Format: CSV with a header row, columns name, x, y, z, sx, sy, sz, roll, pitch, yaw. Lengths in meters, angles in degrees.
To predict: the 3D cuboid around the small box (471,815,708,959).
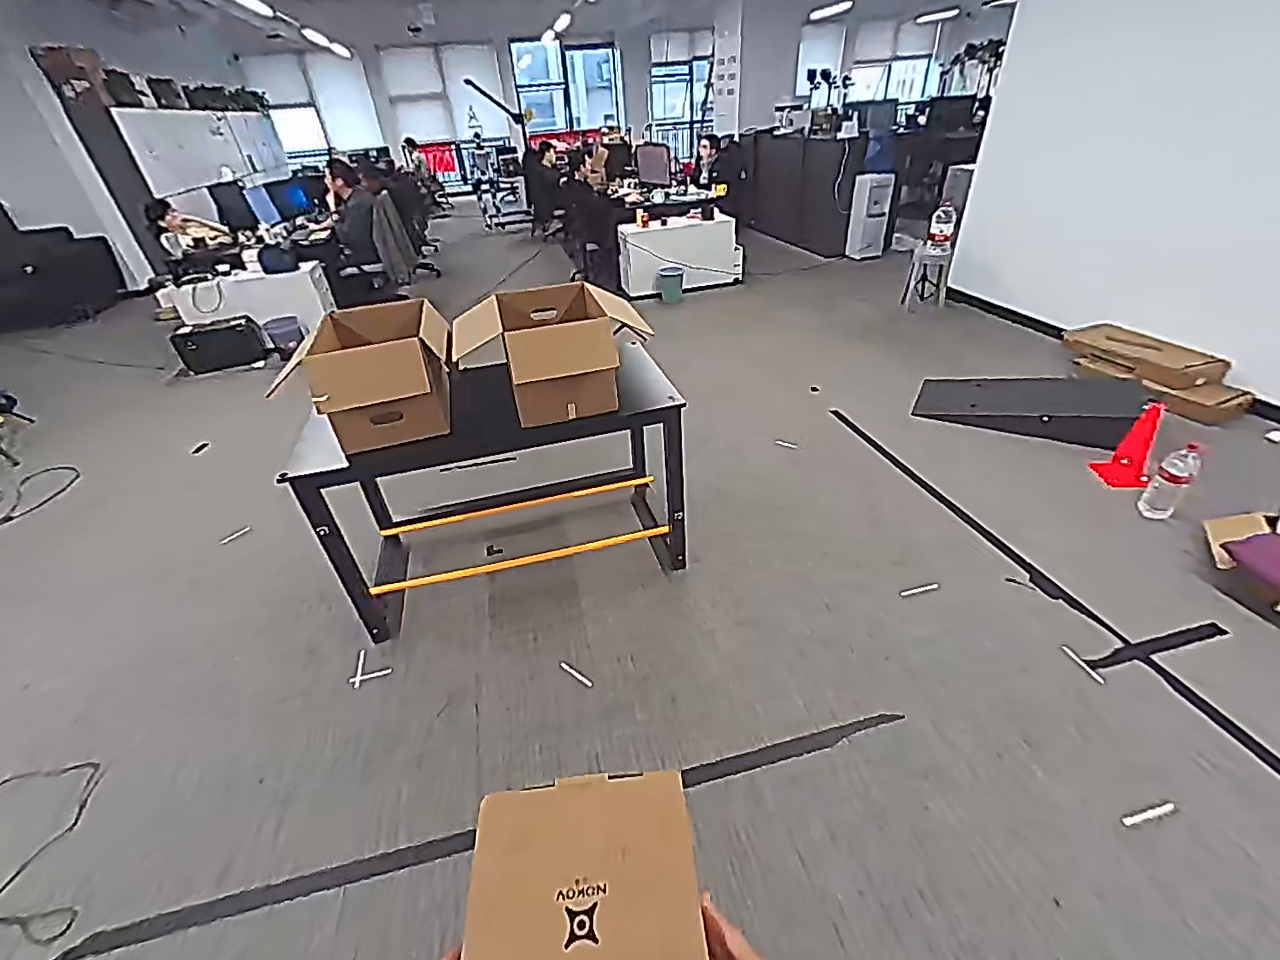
name,x,y,z,sx,sy,sz,roll,pitch,yaw
small box,-0.031,0.394,0.413,0.168,0.176,0.179,-7,36,-2
